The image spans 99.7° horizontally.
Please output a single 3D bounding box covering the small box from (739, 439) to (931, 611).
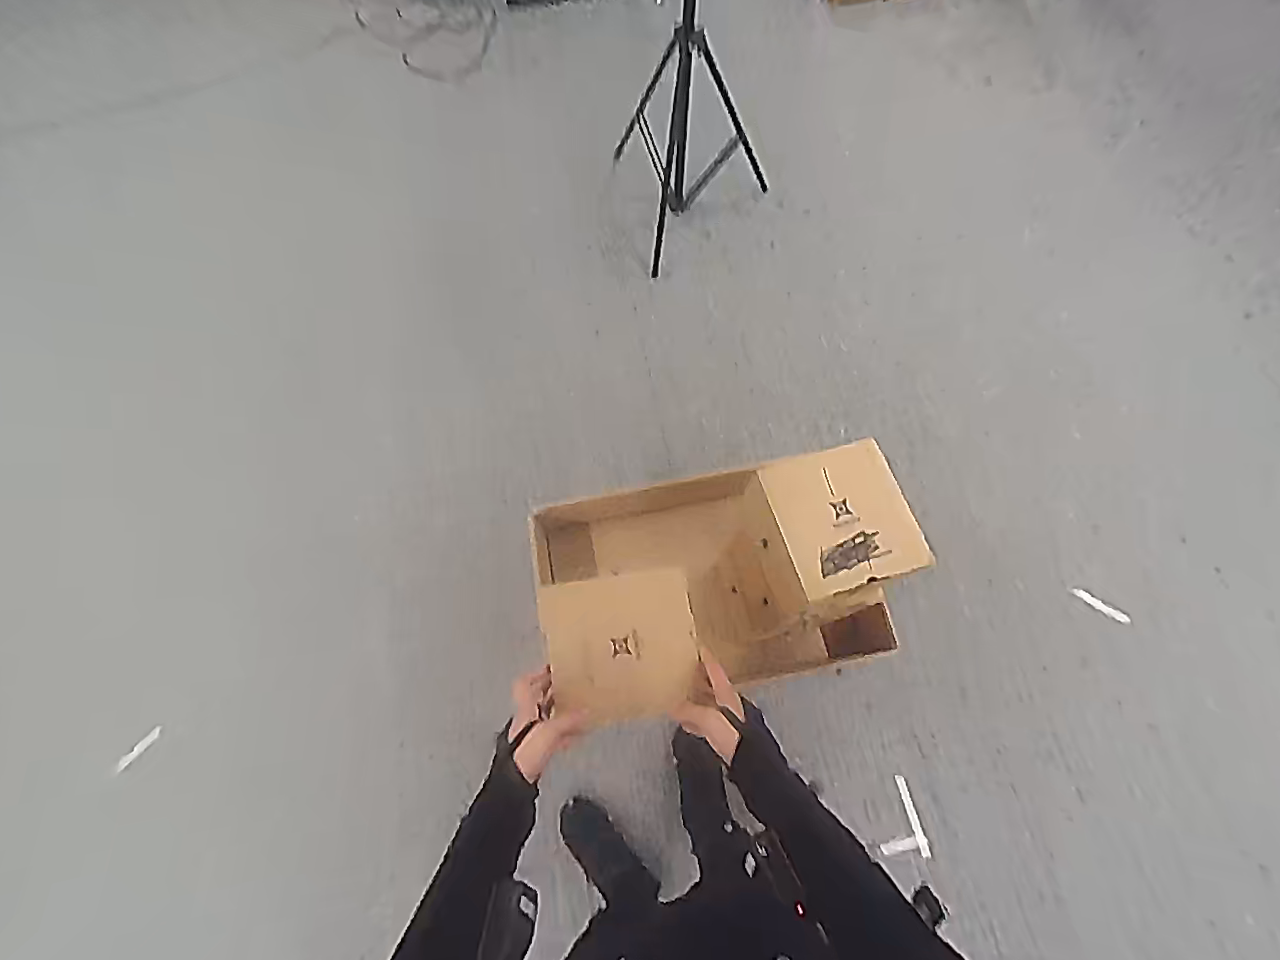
[{"bbox_3d":[0.249,0.072,0.739,0.168,0.176,0.179,-16,69,-5],"label":"small box"}]

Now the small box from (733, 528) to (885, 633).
[{"bbox_3d":[0.261,0.141,0.888,0.168,0.176,0.179,-13,70,-4],"label":"small box"}]

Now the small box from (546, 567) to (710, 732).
[{"bbox_3d":[-0.023,0.209,0.701,0.179,0.176,0.168,-7,77,-7],"label":"small box"}]
